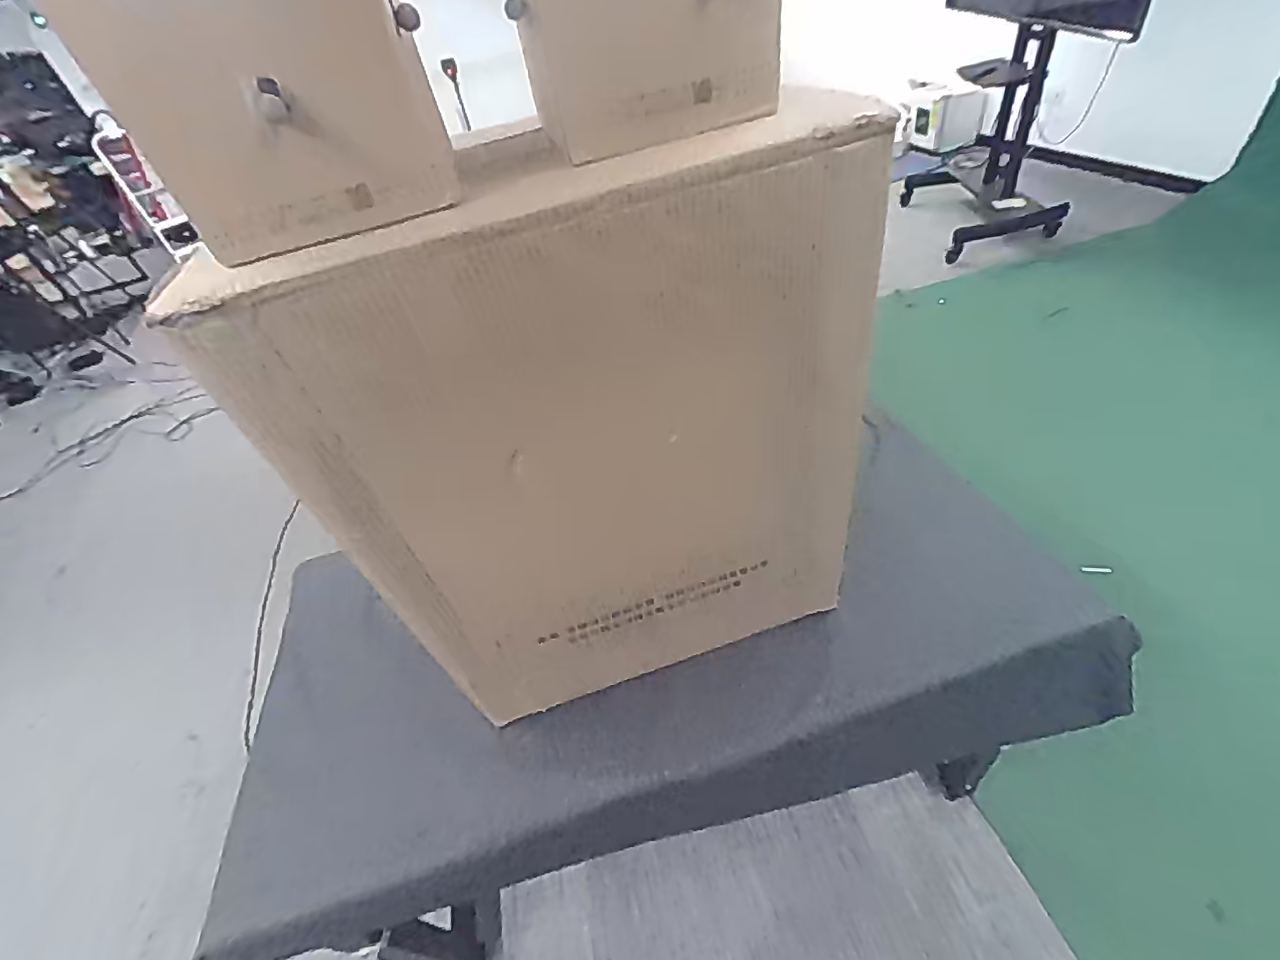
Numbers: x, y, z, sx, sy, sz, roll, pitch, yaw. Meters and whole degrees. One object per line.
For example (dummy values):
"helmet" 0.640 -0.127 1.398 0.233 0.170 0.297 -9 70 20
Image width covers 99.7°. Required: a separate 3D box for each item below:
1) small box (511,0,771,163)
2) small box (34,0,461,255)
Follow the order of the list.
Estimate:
"small box" -0.006 -0.359 0.413 0.168 0.176 0.179 -16 43 -7
"small box" -0.235 -0.277 0.376 0.168 0.176 0.179 -18 45 -5
